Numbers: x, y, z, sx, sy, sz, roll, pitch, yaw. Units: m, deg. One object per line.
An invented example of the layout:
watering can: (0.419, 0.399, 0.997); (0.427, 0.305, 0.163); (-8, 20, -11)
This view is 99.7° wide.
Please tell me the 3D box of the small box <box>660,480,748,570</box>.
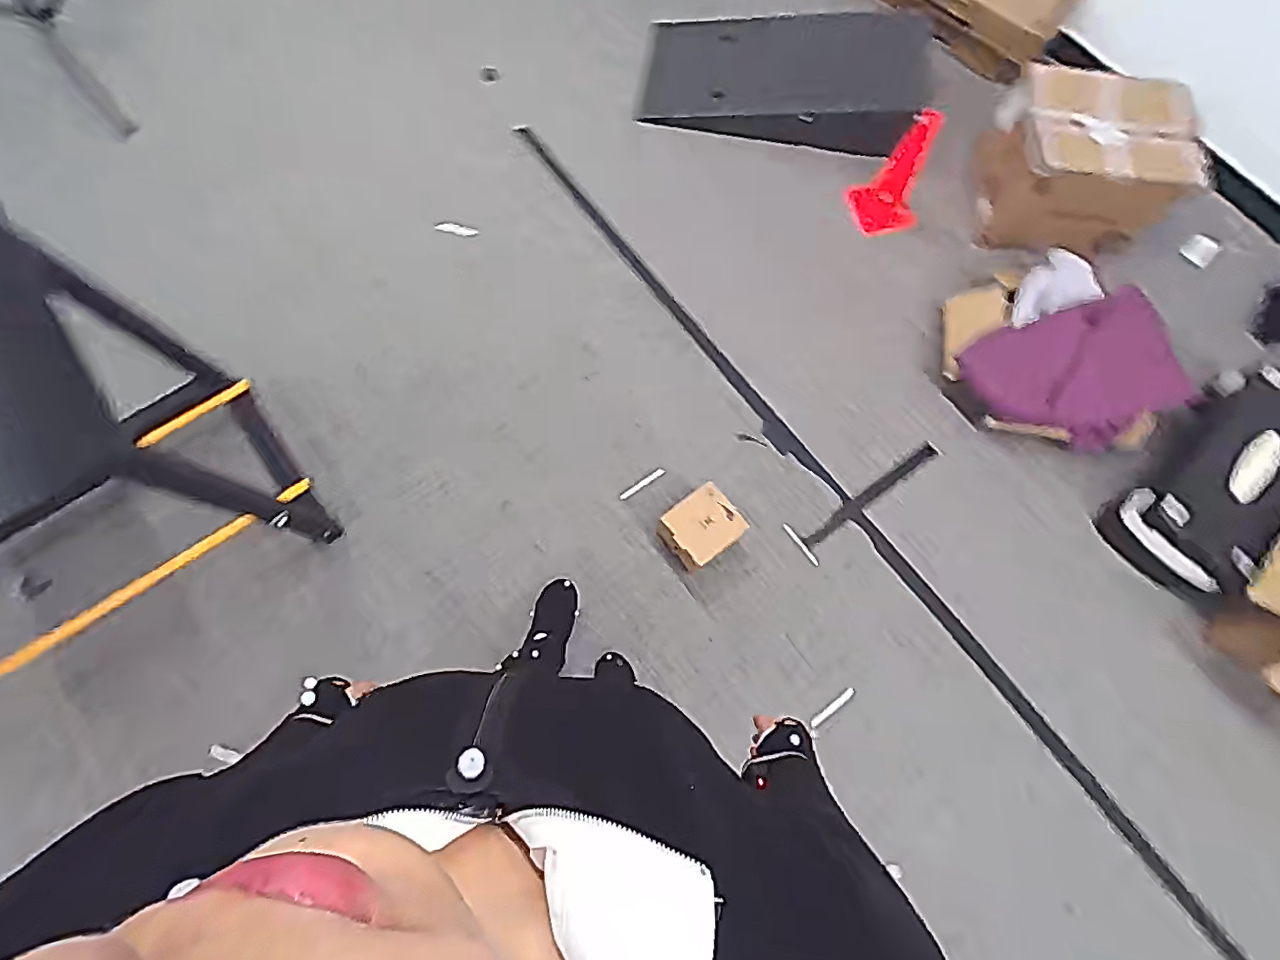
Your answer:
small box: (0.170, 0.131, 1.491); (0.179, 0.176, 0.168); (-36, 78, -10)
